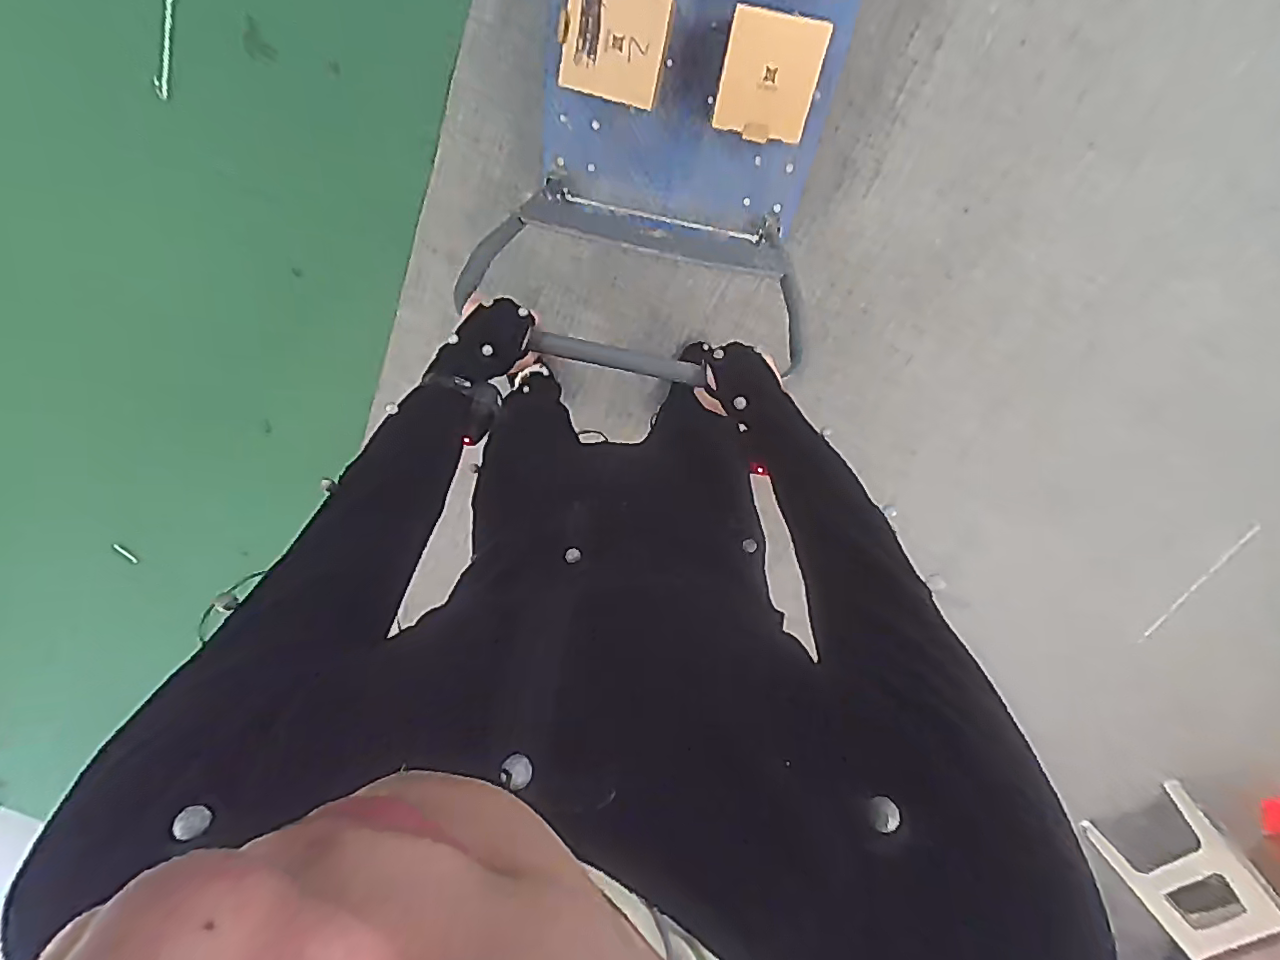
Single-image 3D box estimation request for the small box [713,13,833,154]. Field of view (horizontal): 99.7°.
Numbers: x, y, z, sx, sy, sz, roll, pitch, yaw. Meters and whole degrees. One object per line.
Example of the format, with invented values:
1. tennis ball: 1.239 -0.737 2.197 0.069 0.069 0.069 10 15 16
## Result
1. small box: 0.233 -0.731 1.007 0.168 0.176 0.179 12 126 -2
